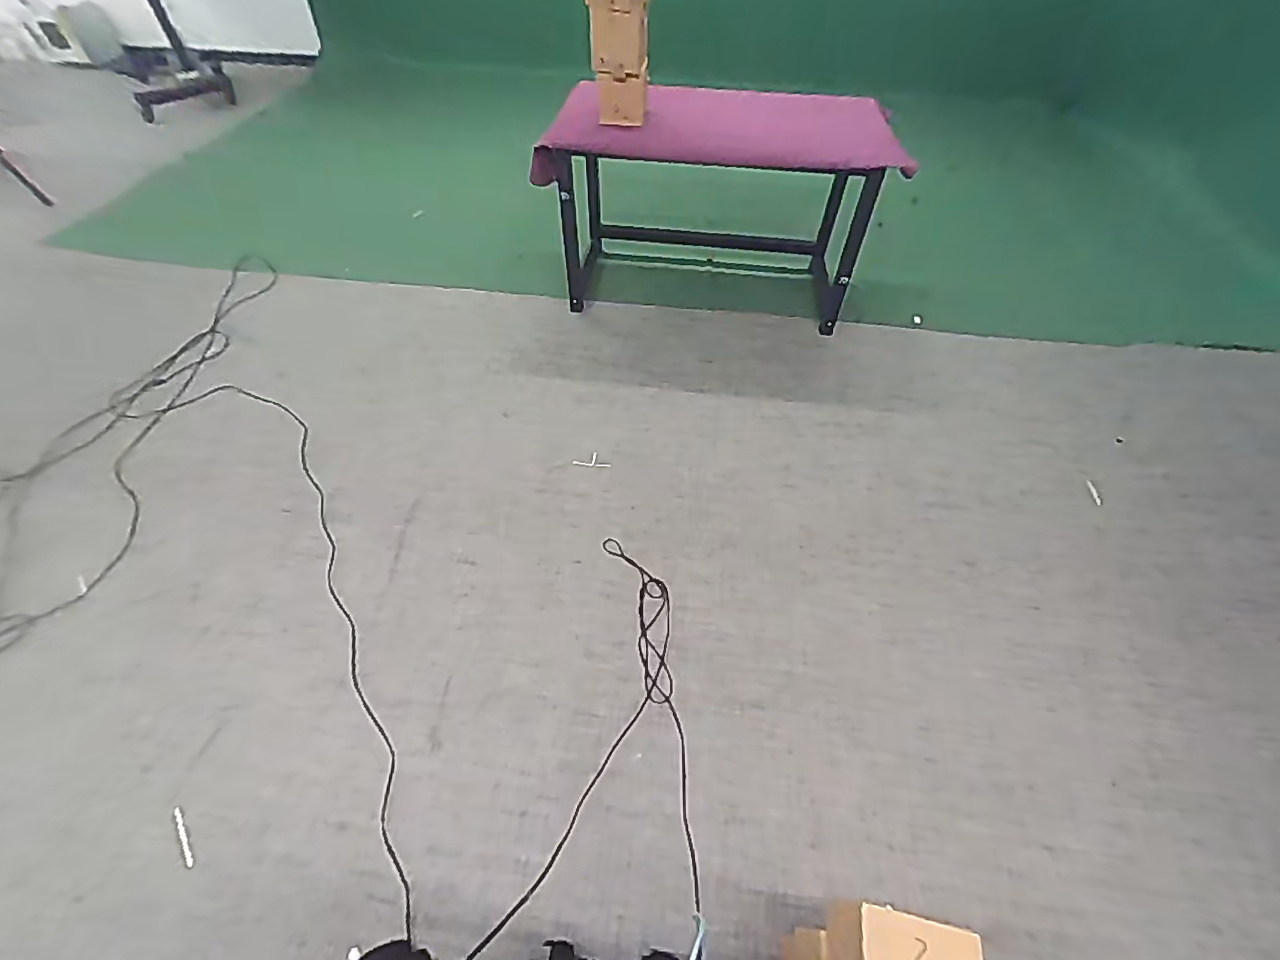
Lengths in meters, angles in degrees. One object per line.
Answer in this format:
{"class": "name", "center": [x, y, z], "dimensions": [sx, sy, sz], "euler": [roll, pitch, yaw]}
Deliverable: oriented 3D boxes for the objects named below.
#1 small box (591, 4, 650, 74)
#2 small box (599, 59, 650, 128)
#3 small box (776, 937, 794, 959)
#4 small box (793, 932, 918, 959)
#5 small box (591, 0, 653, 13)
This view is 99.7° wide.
{"class": "small box", "center": [-0.062, -1.502, 1.830], "dimensions": [0.168, 0.176, 0.179], "euler": [9, 52, 5]}
{"class": "small box", "center": [-0.055, -1.412, 1.968], "dimensions": [0.168, 0.176, 0.179], "euler": [5, 53, 2]}
{"class": "small box", "center": [0.352, 0.988, 1.010], "dimensions": [0.168, 0.176, 0.179], "euler": [10, 52, 5]}
{"class": "small box", "center": [0.356, 0.871, 0.893], "dimensions": [0.168, 0.176, 0.179], "euler": [7, 52, 3]}
{"class": "small box", "center": [-0.057, -1.605, 1.702], "dimensions": [0.168, 0.176, 0.179], "euler": [24, 57, 15]}
